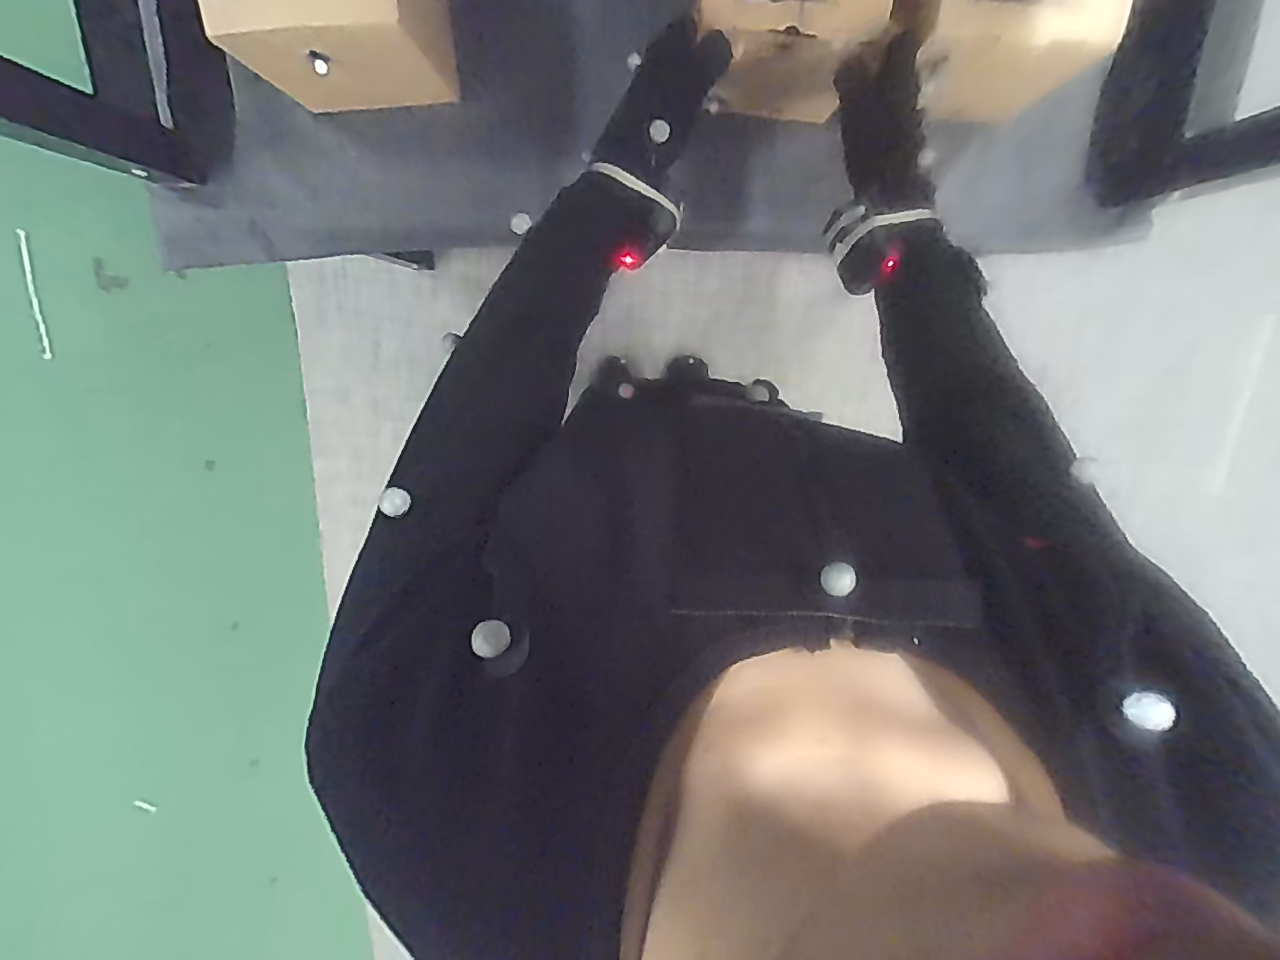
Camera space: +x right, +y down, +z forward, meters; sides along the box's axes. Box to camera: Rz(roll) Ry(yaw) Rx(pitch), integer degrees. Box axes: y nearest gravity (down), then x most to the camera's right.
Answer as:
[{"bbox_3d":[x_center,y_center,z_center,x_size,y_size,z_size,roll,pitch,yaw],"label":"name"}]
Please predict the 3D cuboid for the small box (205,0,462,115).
[{"bbox_3d":[-0.299,-0.490,0.540,0.179,0.176,0.168,-3,105,1],"label":"small box"}]
